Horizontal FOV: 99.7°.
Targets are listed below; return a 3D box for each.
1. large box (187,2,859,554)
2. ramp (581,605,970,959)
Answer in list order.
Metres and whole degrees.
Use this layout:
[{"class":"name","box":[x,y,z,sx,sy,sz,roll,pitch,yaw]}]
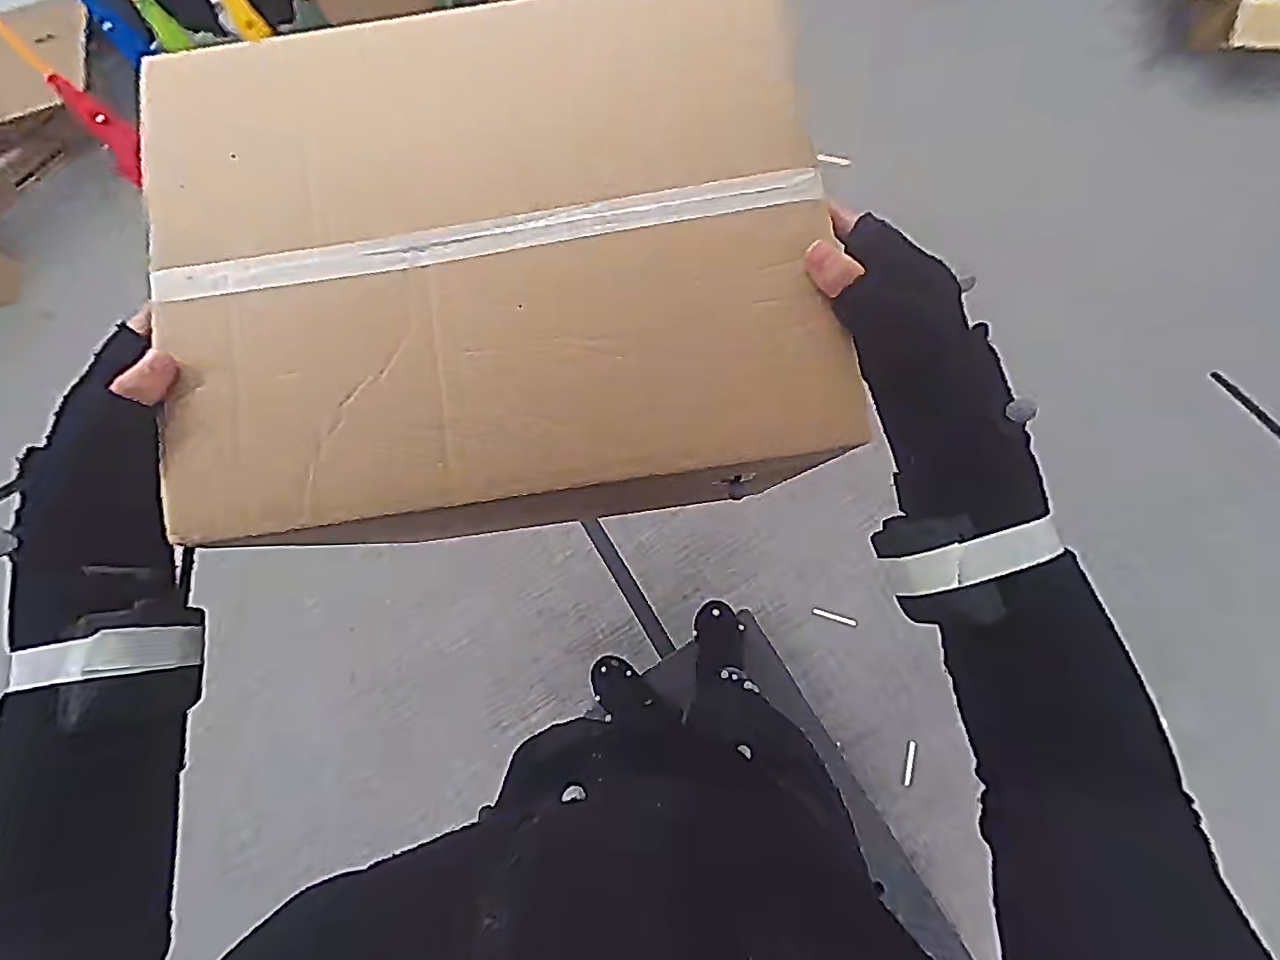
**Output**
[{"class":"large box","box":[-0.078,-0.120,0.489,0.408,0.320,0.320,-8,83,1]},{"class":"ramp","box":[0.322,0.851,1.299,0.509,0.206,0.991,-33,75,-7]}]
